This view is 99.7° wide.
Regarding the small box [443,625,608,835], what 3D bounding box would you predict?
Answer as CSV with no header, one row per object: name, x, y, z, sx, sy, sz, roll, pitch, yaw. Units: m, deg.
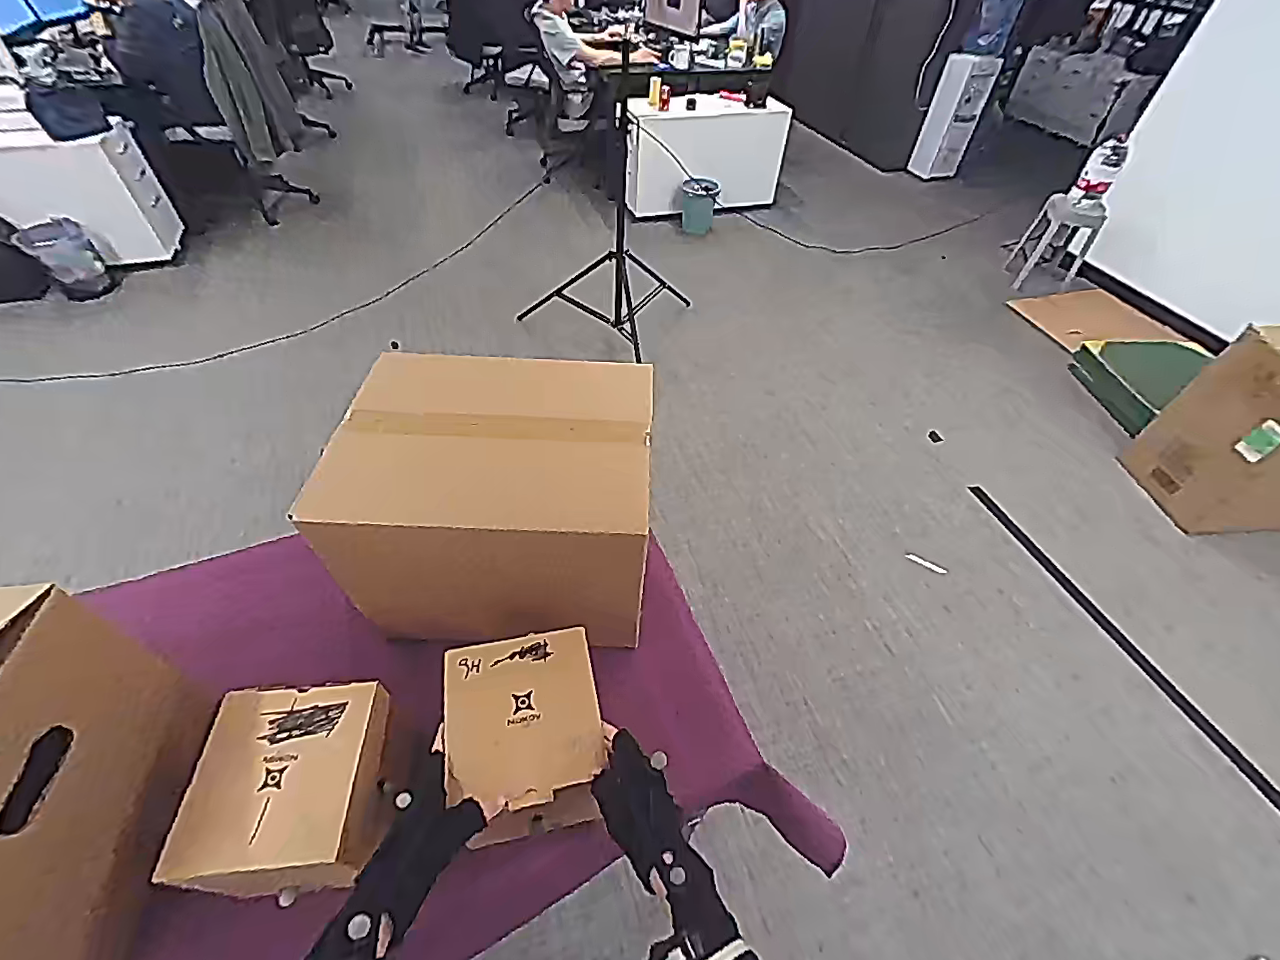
small box,-0.133,0.301,0.645,0.168,0.176,0.179,-7,49,-12
